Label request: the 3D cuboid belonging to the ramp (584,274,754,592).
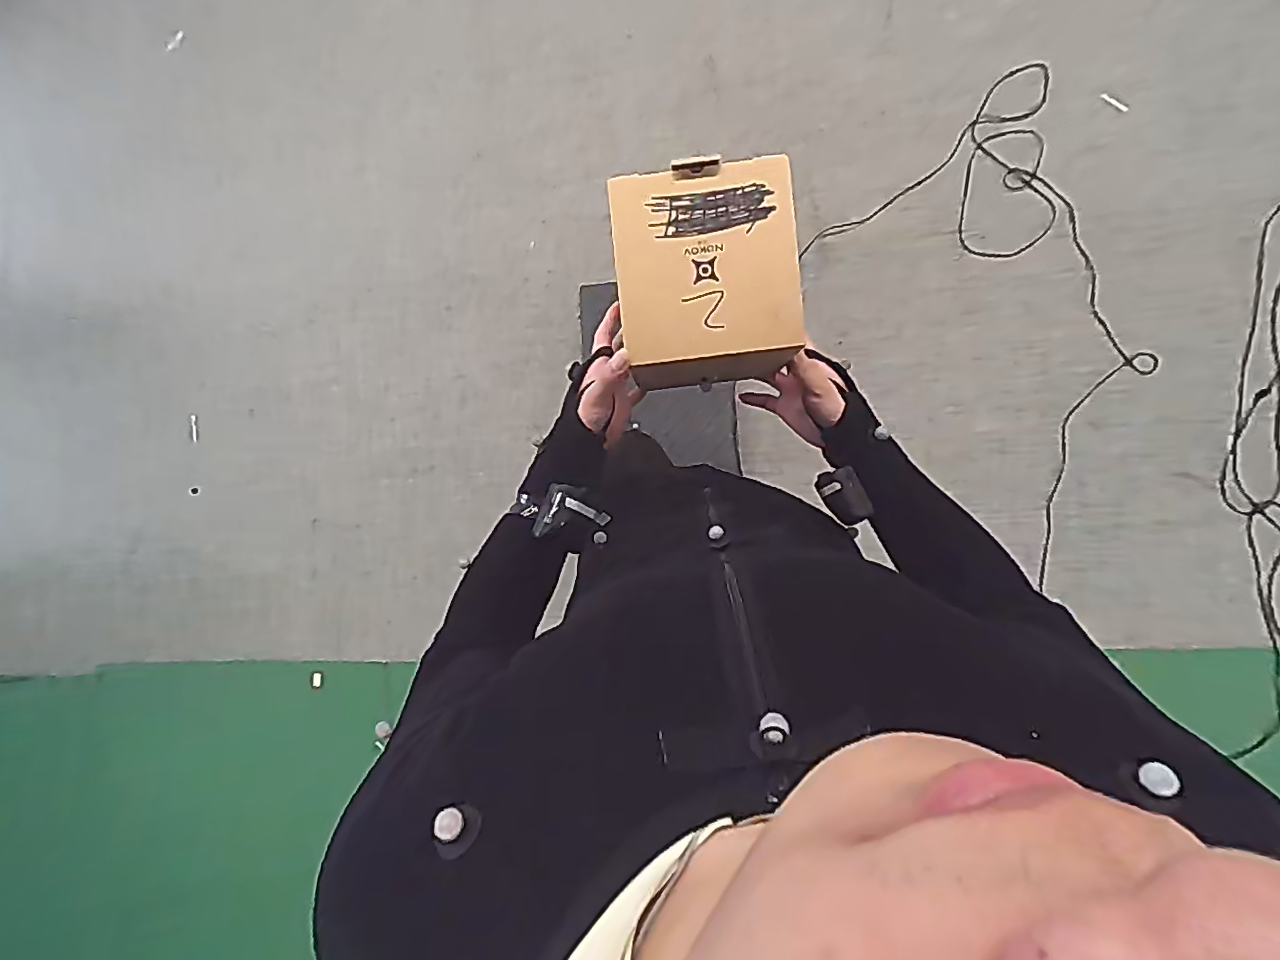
[{"bbox_3d":[0.073,-0.162,1.706,0.509,0.206,0.991,-5,90,8],"label":"ramp"}]
